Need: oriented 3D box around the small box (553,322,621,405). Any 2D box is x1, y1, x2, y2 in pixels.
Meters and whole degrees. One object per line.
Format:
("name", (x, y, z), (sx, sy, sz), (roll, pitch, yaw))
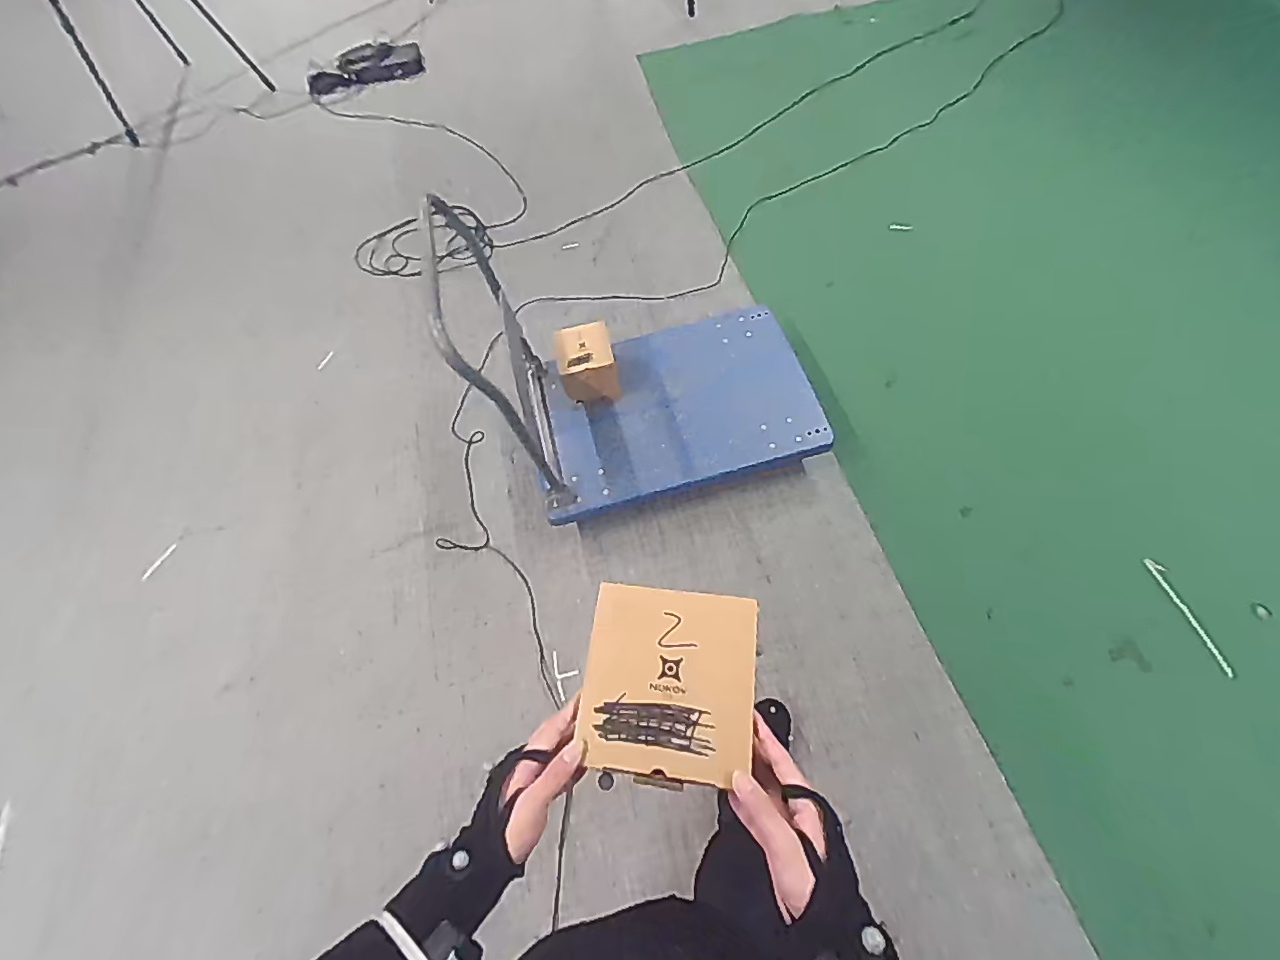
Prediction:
("small box", (-0.159, -0.346, 1.651), (0.168, 0.176, 0.179), (-13, 61, -1))
